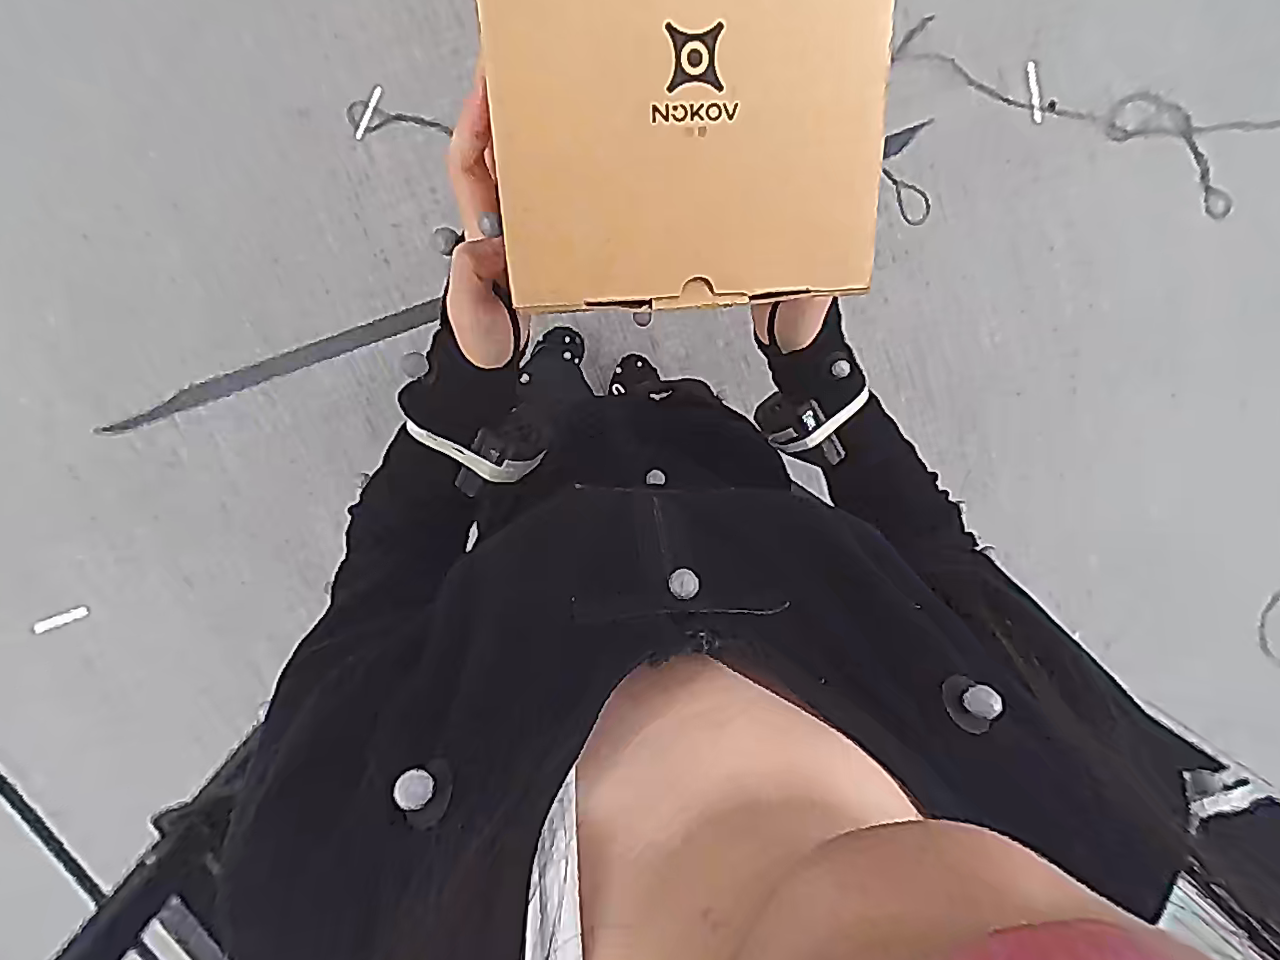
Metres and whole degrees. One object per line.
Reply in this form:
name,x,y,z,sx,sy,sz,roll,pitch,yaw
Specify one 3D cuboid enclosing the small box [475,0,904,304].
small box,0.011,-0.188,0.280,0.168,0.176,0.179,-6,109,-5
